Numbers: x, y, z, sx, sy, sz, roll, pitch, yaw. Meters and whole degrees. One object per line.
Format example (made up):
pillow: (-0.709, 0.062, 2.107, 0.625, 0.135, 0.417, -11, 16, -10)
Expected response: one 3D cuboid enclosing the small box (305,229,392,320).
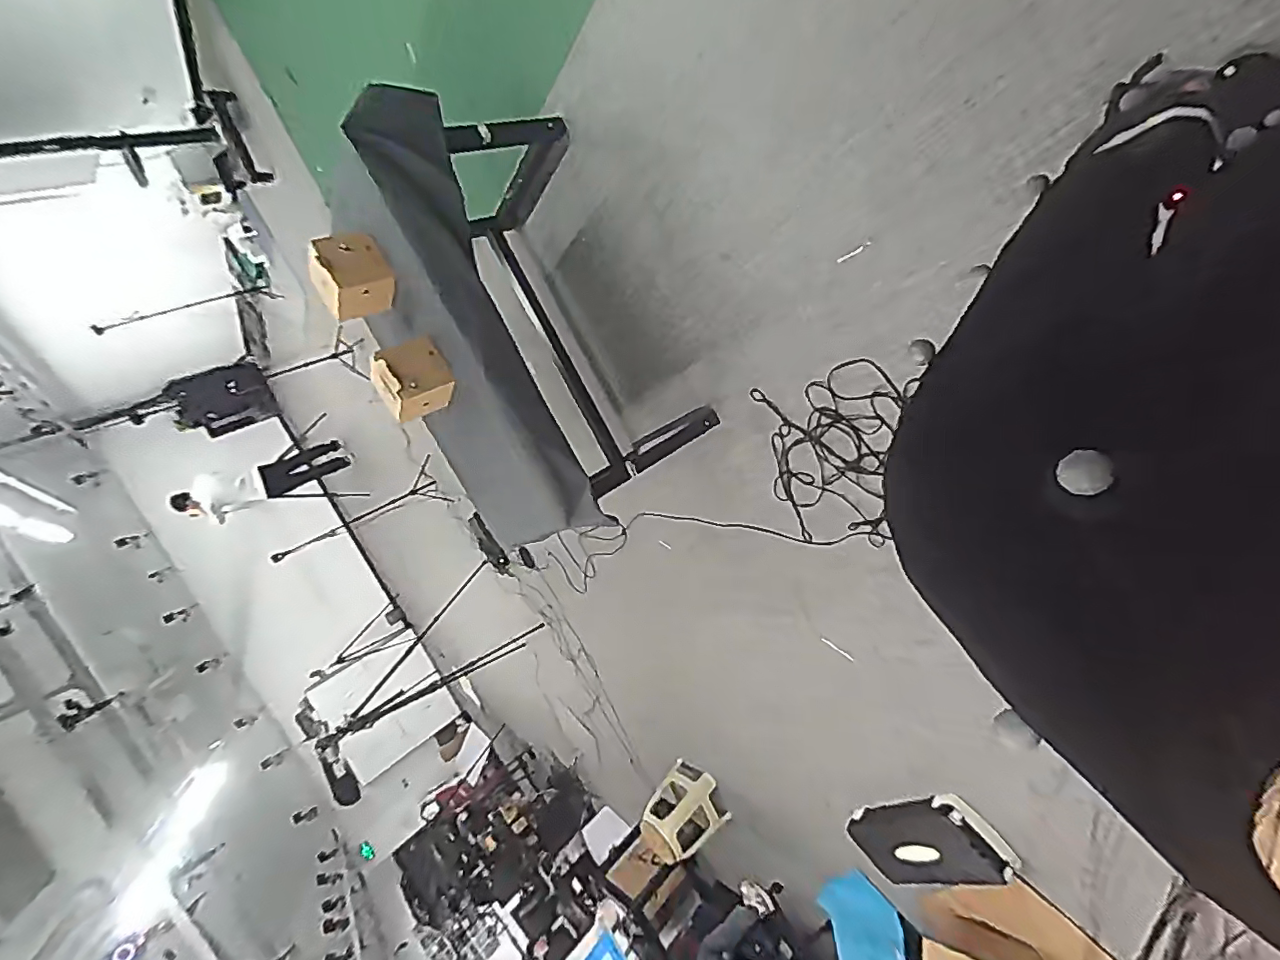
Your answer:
small box: (-0.853, -0.608, 1.593, 0.168, 0.176, 0.179, 58, 147, 1)
